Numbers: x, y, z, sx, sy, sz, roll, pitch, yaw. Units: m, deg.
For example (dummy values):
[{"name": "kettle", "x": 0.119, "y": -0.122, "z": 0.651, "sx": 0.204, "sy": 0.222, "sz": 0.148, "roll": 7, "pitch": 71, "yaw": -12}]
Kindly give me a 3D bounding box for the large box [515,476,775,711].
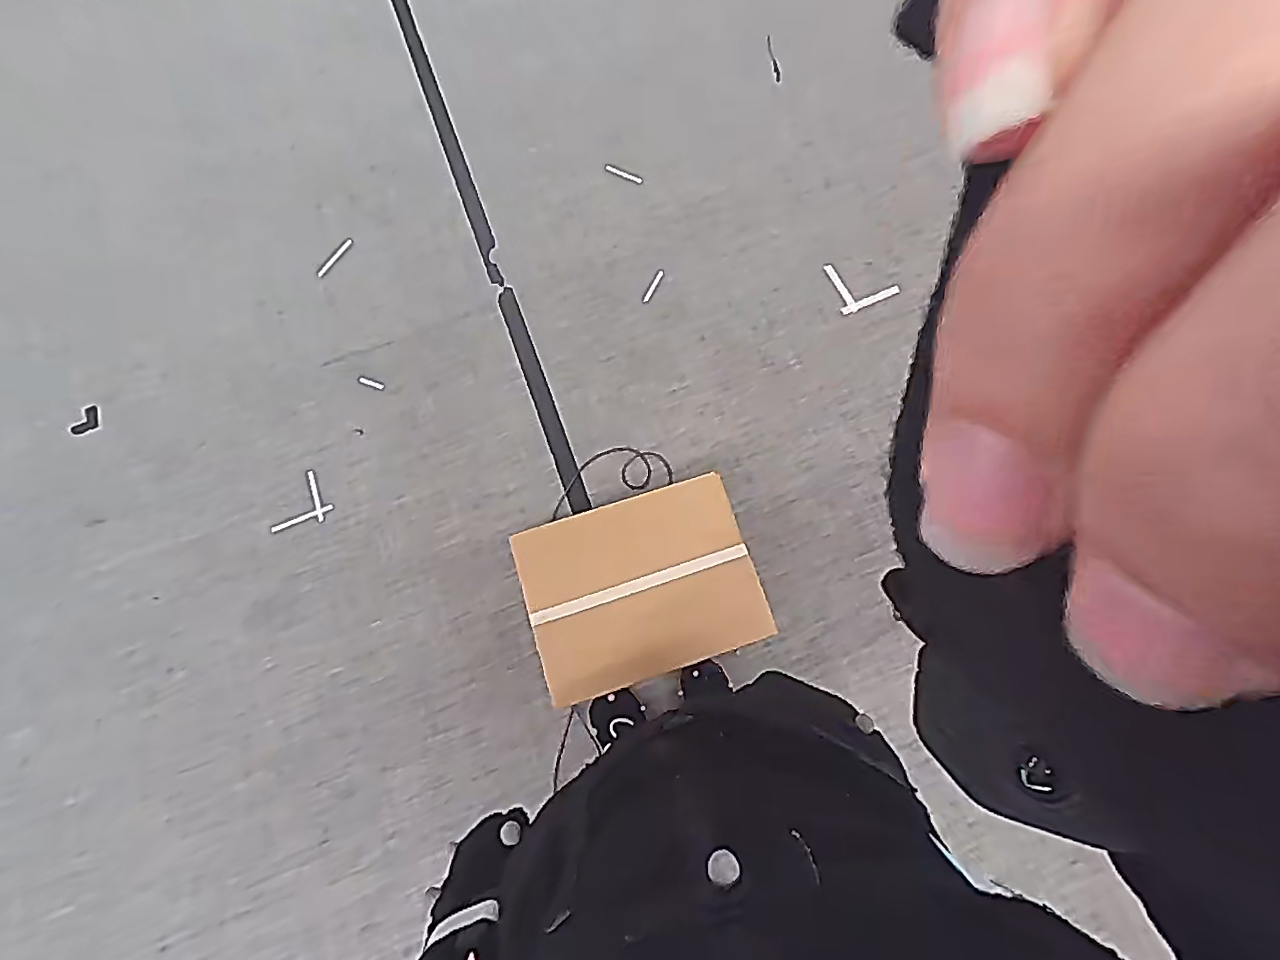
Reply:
[{"name": "large box", "x": 0.005, "y": 0.230, "z": 1.106, "sx": 0.408, "sy": 0.320, "sz": 0.320, "roll": -17, "pitch": 74, "yaw": -5}]
